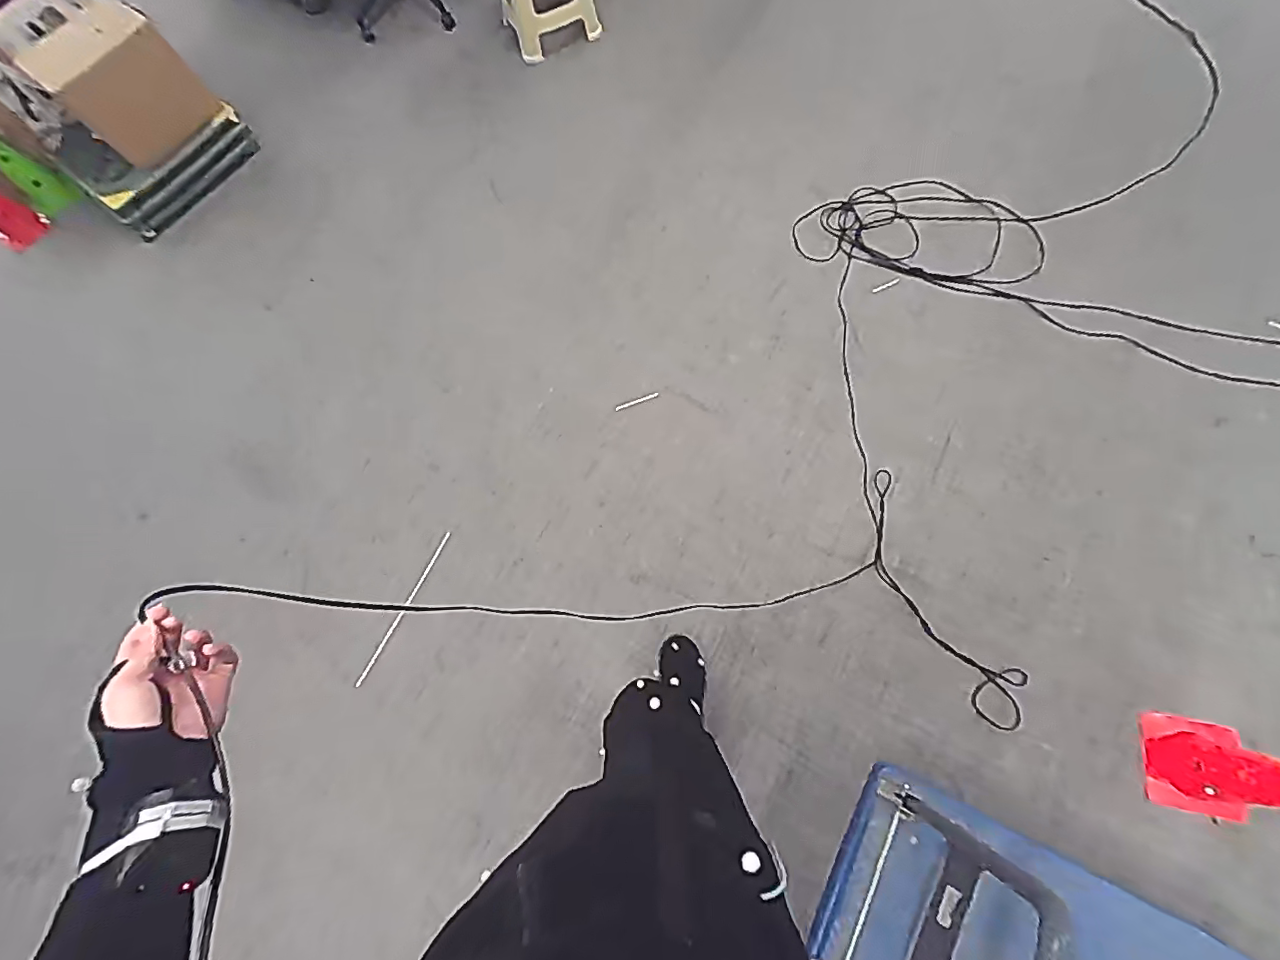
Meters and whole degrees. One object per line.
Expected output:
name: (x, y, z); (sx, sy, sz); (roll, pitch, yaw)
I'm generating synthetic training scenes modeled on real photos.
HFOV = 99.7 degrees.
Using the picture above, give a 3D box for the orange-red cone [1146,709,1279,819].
orange-red cone: (1.257, 0.590, 1.077); (0.198, 0.360, 0.199); (11, 72, 9)
